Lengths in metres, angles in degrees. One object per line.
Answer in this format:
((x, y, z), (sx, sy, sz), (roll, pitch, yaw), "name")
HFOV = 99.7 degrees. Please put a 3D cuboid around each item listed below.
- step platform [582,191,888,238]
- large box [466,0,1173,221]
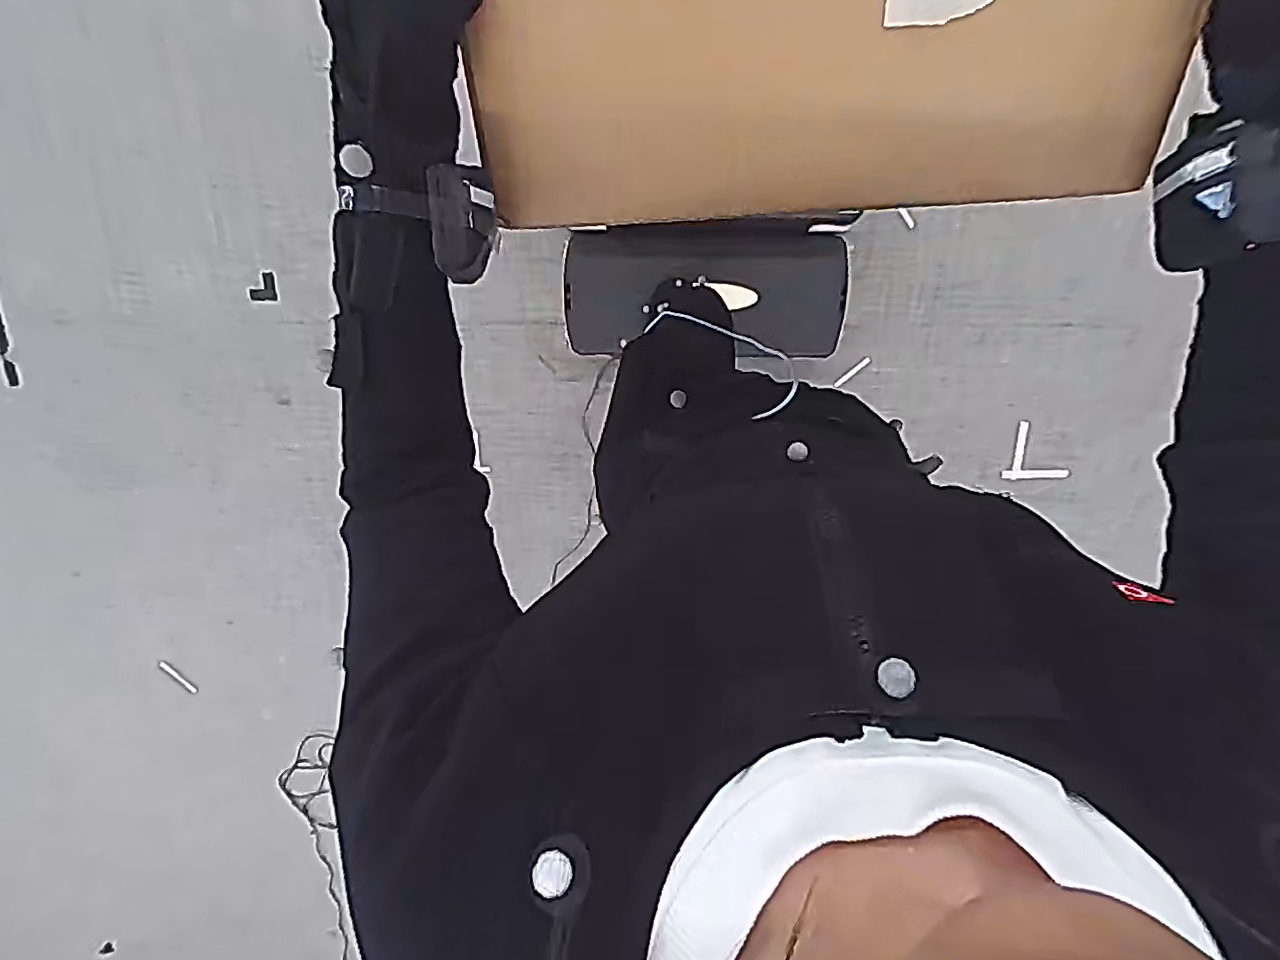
((0.195, -0.703, 1.190), (0.684, 0.204, 0.286), (0, 107, 1), "step platform")
((0.102, -0.394, 0.412), (0.408, 0.320, 0.320), (-1, 120, 7), "large box")
